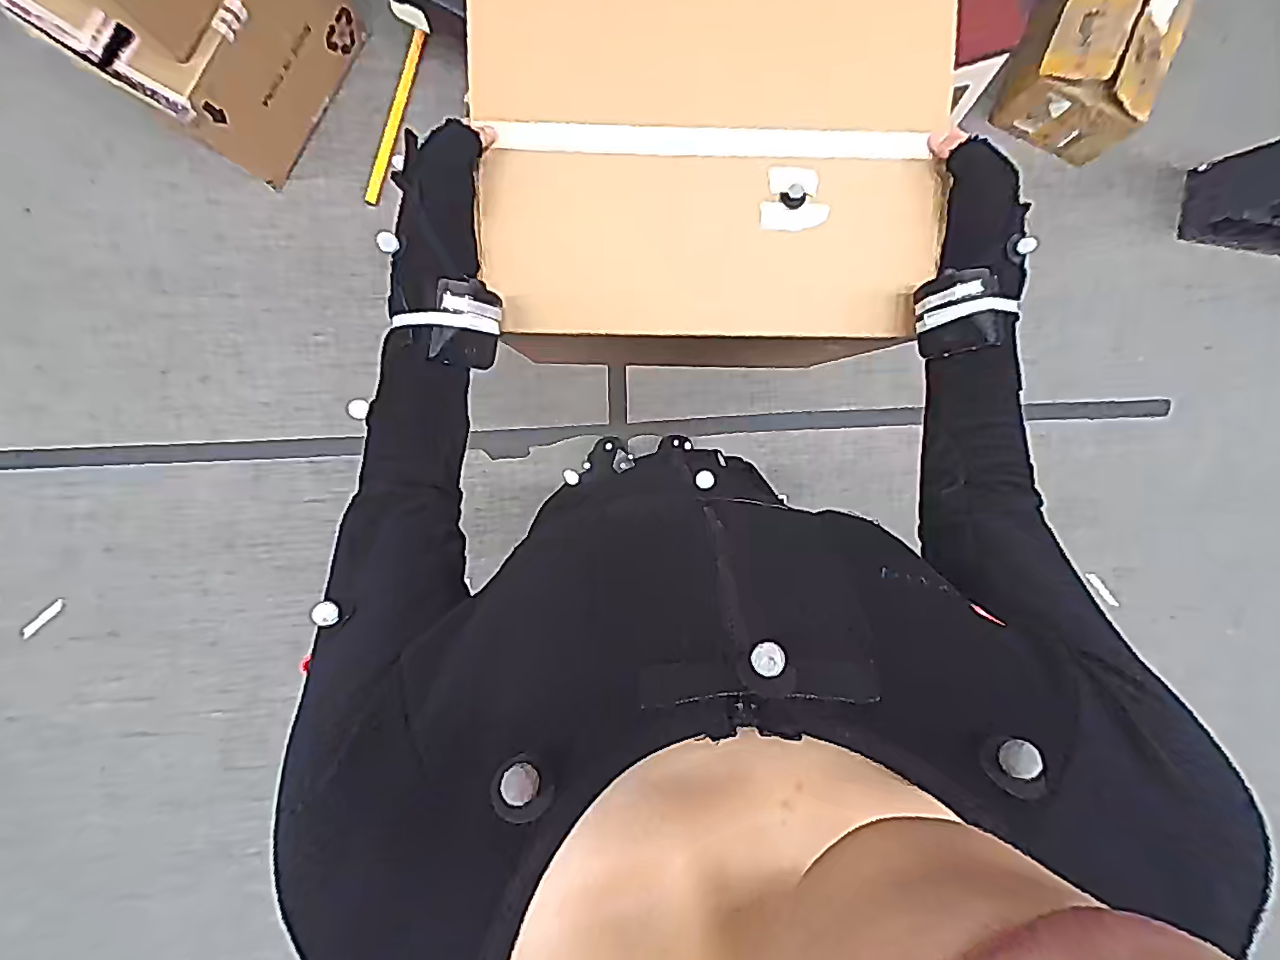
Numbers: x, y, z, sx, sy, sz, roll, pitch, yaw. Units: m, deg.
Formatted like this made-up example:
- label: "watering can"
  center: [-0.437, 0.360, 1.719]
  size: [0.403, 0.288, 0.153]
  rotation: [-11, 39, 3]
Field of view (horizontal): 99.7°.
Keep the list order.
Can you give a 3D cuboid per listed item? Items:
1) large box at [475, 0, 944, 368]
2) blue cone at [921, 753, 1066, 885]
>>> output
- label: "large box"
  center: [0.054, -0.301, 0.611]
  size: [0.408, 0.320, 0.320]
  rotation: [0, 97, -4]
- label: "blue cone"
  center: [0.914, 0.888, 1.395]
  size: [0.192, 0.380, 0.193]
  rotation: [1, 92, -5]
